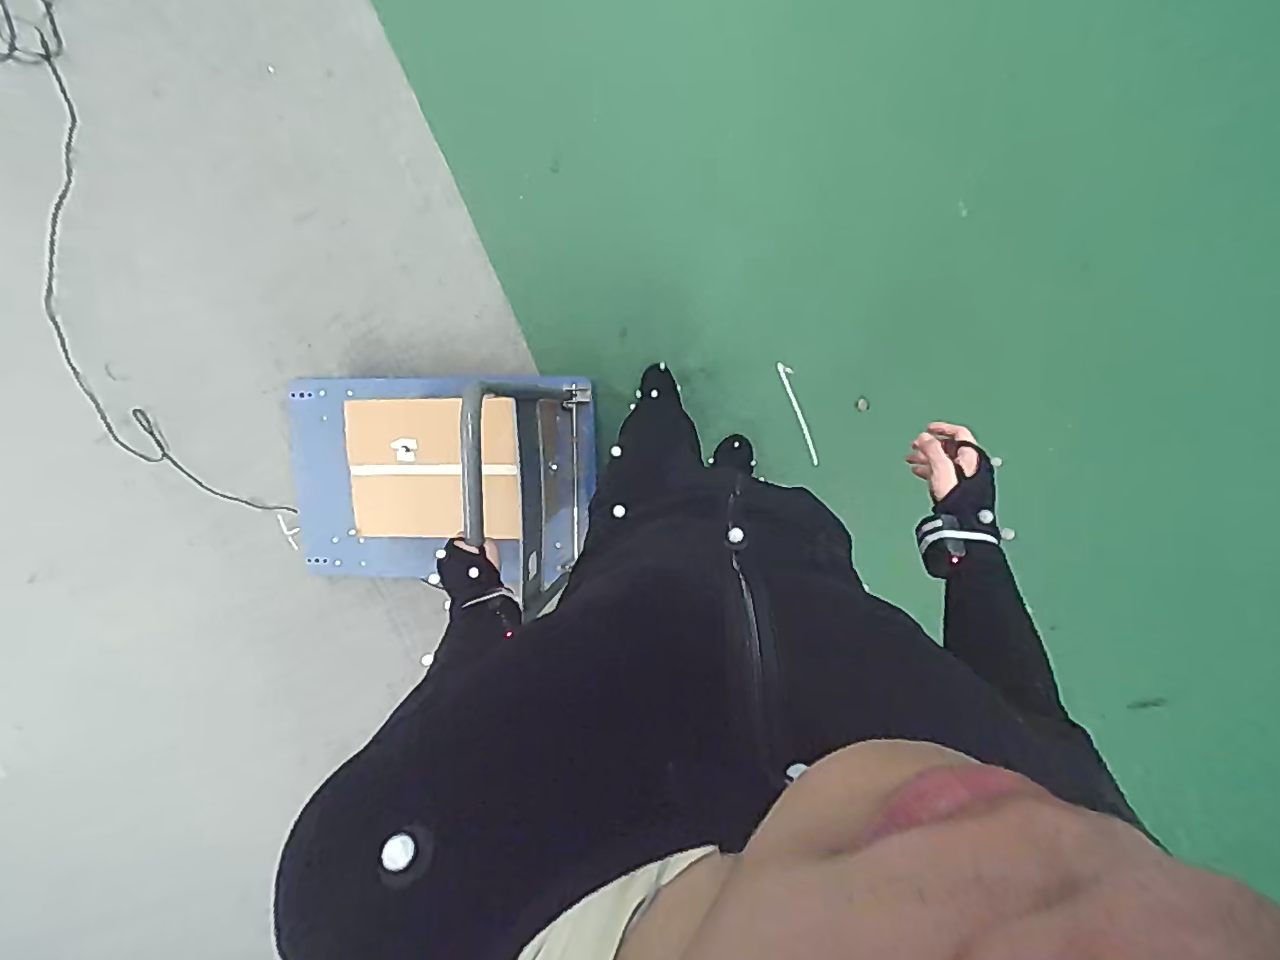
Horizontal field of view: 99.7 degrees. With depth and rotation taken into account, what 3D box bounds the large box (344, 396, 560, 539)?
[{"bbox_3d":[-0.434,-0.044,1.330,0.408,0.320,0.320,0,98,5],"label":"large box"}]
